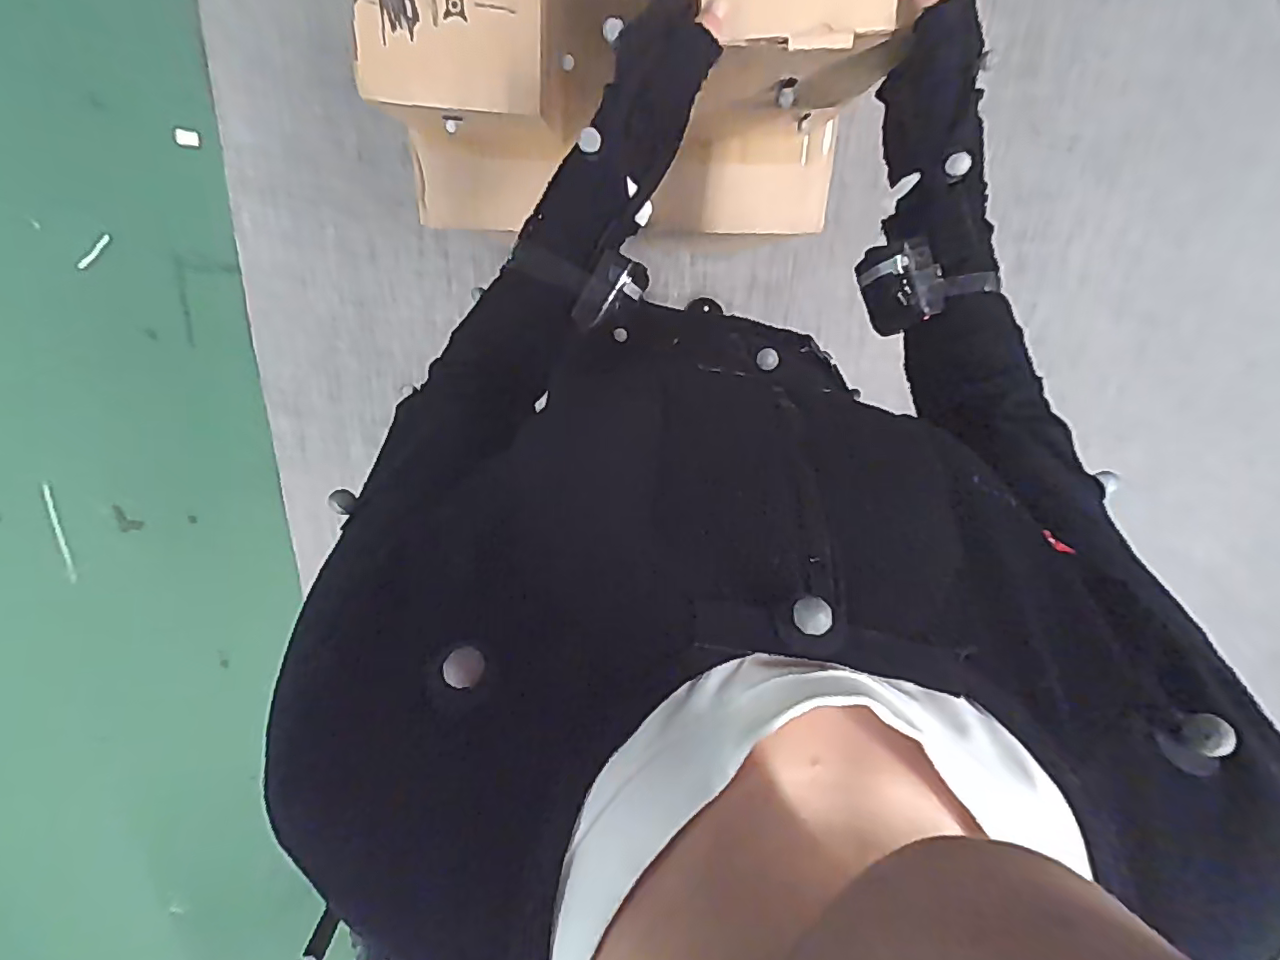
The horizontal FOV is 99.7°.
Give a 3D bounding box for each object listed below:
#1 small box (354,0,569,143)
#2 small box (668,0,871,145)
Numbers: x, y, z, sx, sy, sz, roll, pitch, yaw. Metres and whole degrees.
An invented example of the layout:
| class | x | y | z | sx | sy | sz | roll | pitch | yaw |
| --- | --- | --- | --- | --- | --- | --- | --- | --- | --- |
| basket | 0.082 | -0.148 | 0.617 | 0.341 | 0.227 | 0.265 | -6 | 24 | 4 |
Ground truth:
| class | x | y | z | sx | sy | sz | roll | pitch | yaw |
| --- | --- | --- | --- | --- | --- | --- | --- | --- | --- |
| small box | -0.176 | -0.469 | 0.570 | 0.179 | 0.176 | 0.168 | 4 | 113 | -2 |
| small box | 0.125 | -0.471 | 0.569 | 0.179 | 0.176 | 0.168 | -6 | 110 | 3 |
